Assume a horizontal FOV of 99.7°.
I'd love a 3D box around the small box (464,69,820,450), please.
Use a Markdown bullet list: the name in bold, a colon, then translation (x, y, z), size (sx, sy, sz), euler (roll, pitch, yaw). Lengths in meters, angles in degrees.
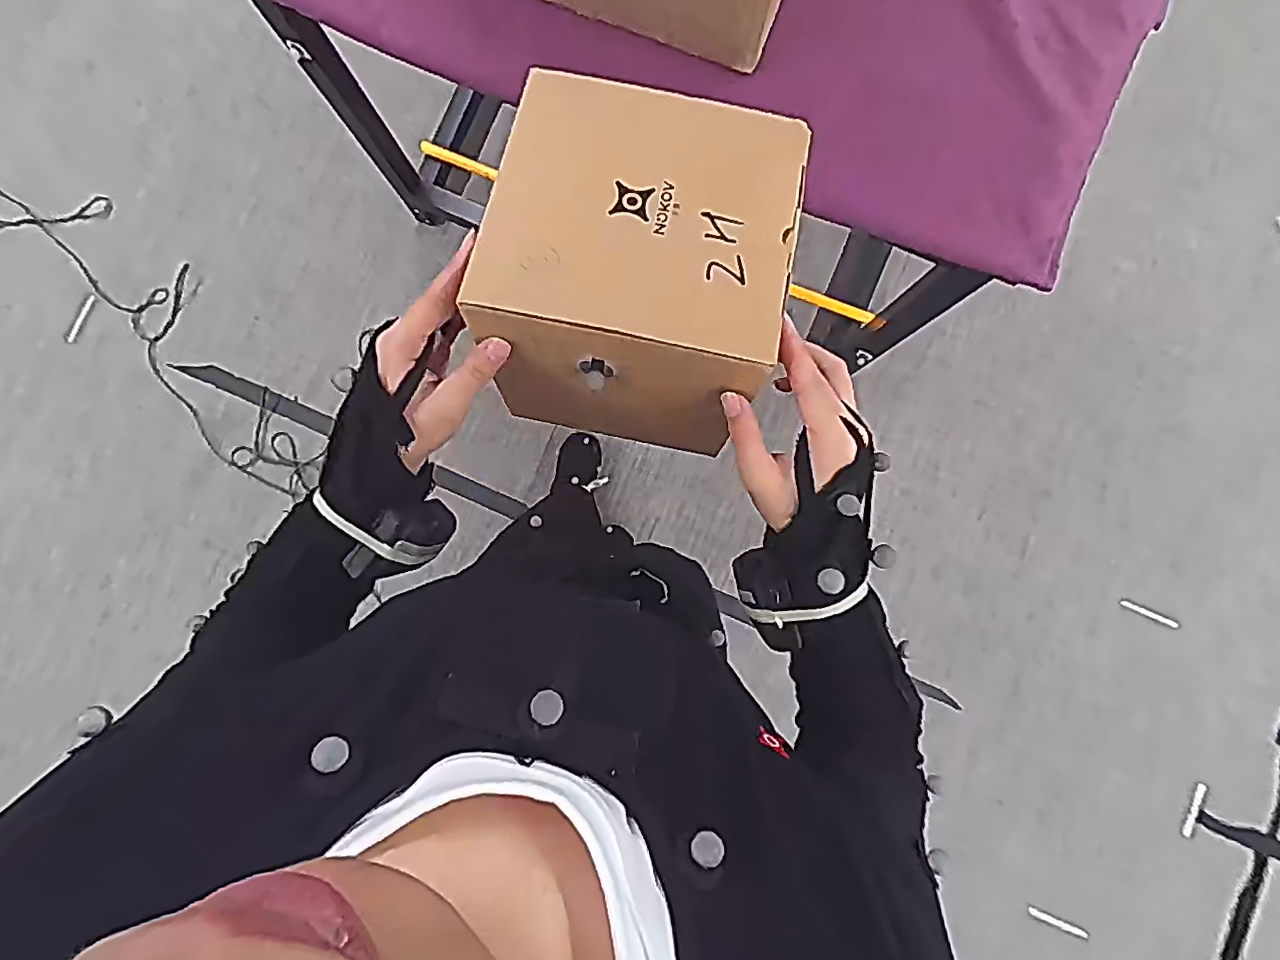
- **small box**: translation (0.003, -0.132, 0.380), size (0.179, 0.176, 0.168), euler (12, 75, 0)
